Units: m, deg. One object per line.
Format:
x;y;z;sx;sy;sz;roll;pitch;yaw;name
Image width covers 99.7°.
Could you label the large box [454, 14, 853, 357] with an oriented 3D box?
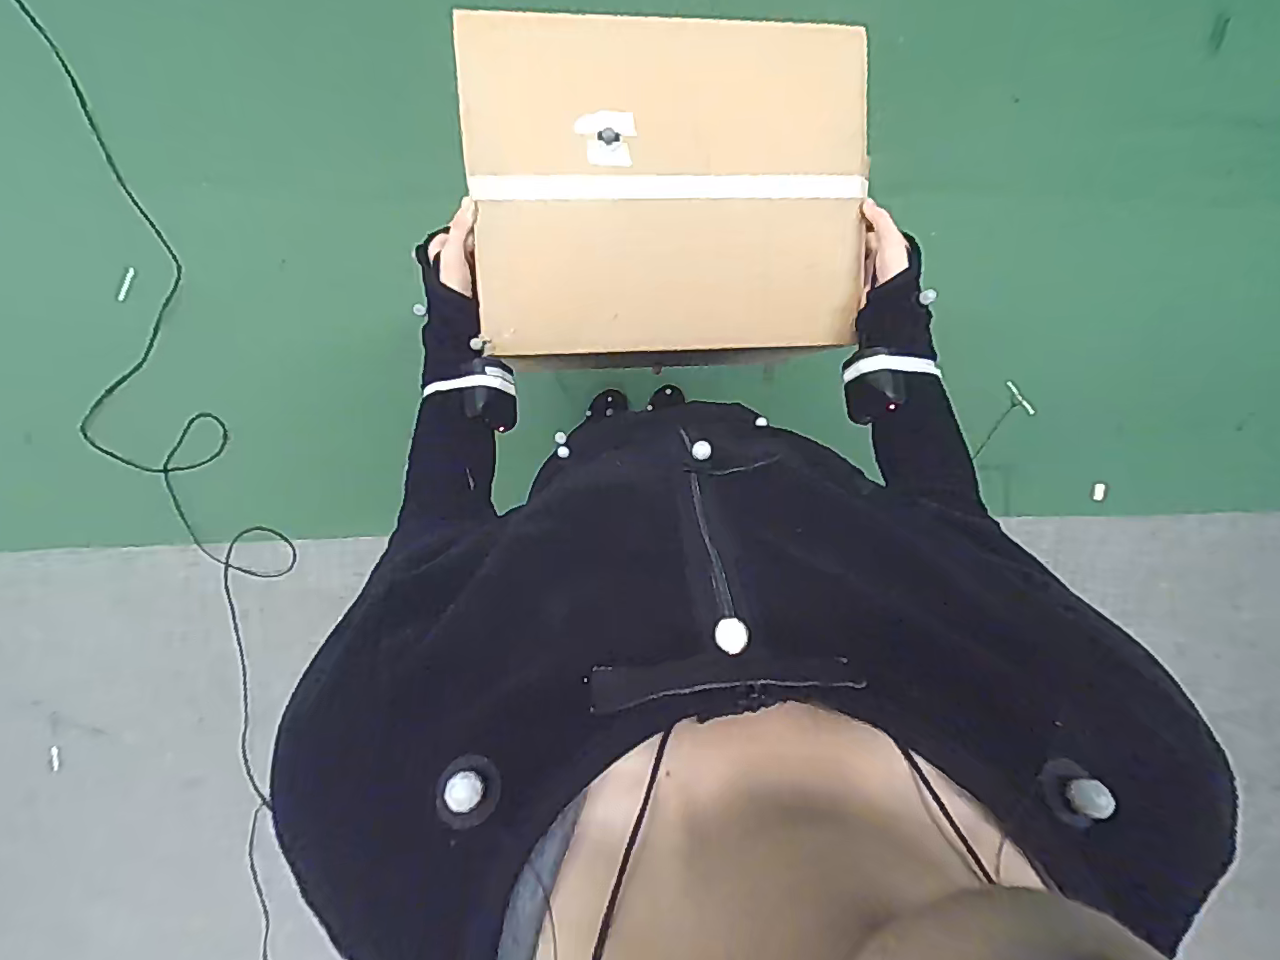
0.011;-0.327;0.700;0.408;0.320;0.320;-3;99;-6;large box
